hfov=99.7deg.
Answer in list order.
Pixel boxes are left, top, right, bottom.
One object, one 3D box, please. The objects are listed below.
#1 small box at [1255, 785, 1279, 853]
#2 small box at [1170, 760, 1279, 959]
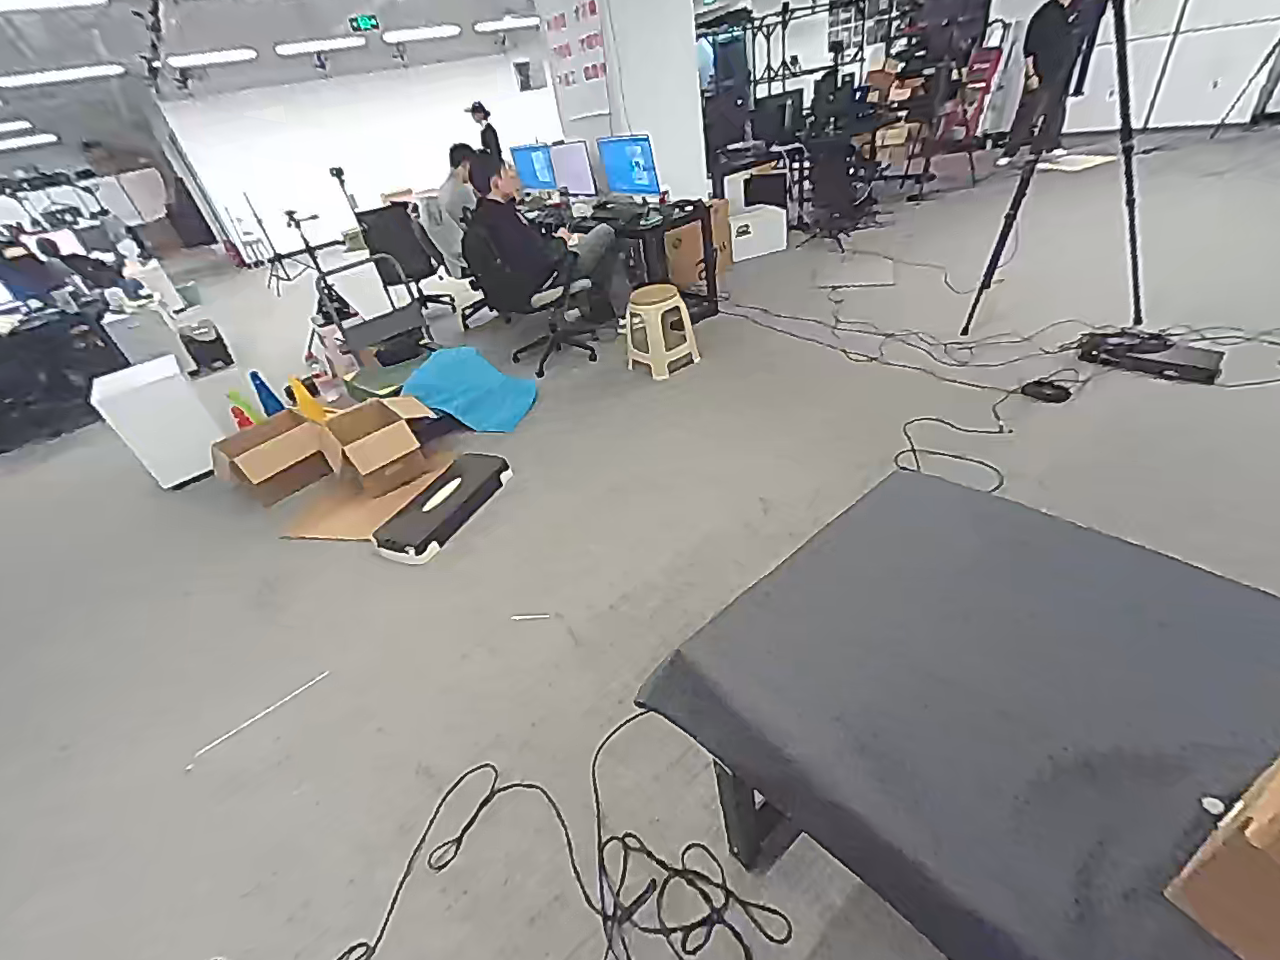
[{"bbox_3d":[0.547,0.207,0.320,0.168,0.176,0.179,-24,38,-19],"label":"small box"},{"bbox_3d":[0.588,0.328,0.422,0.168,0.176,0.179,-25,36,-20],"label":"small box"}]
